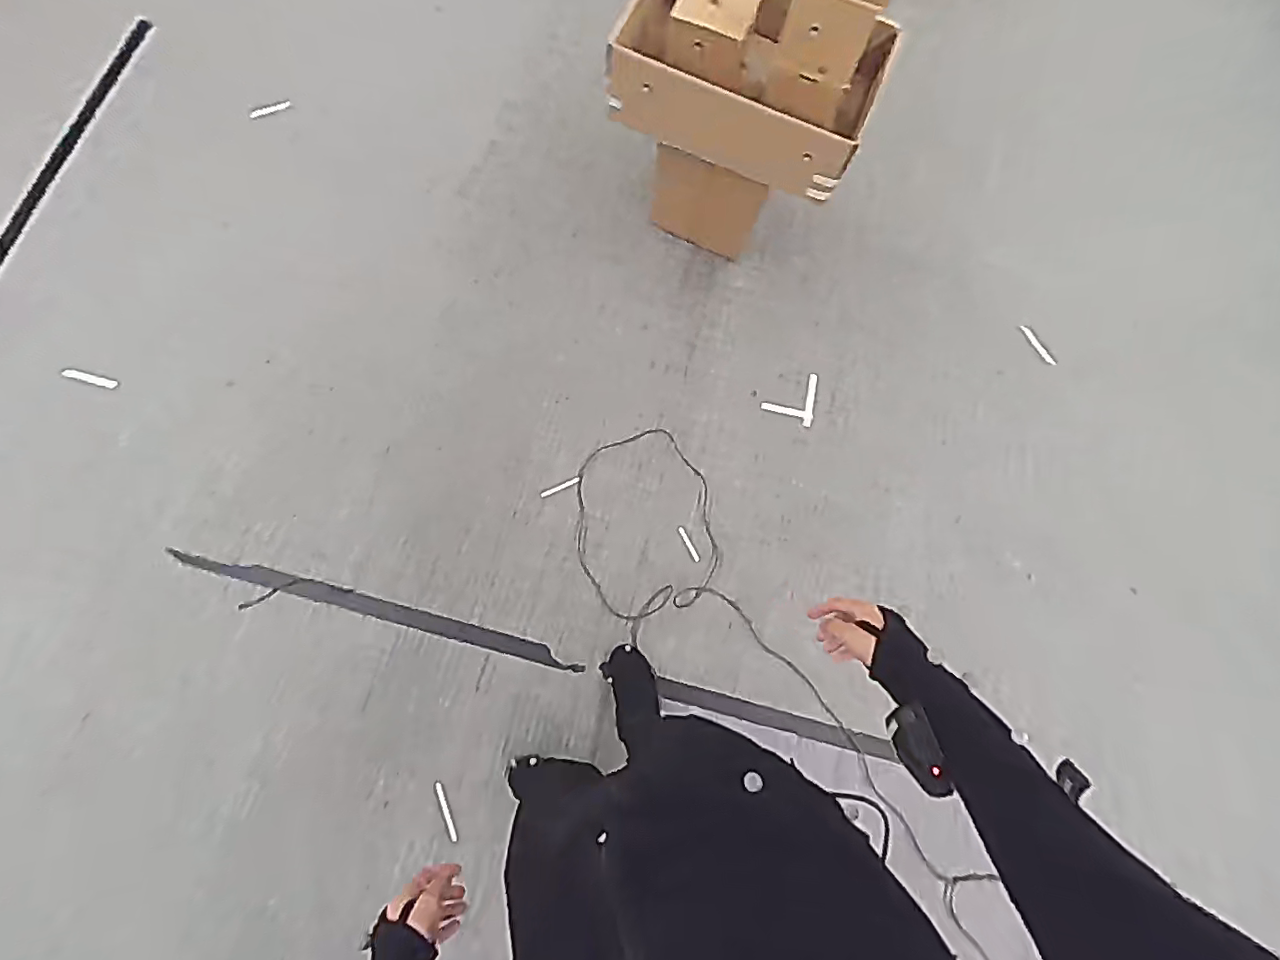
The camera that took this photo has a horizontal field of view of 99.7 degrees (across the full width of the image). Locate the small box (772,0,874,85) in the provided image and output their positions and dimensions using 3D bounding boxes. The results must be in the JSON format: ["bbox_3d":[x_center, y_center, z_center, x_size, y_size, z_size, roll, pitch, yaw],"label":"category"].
[{"bbox_3d":[0.391,-0.982,1.131,0.168,0.176,0.179,21,75,2],"label":"small box"}]
